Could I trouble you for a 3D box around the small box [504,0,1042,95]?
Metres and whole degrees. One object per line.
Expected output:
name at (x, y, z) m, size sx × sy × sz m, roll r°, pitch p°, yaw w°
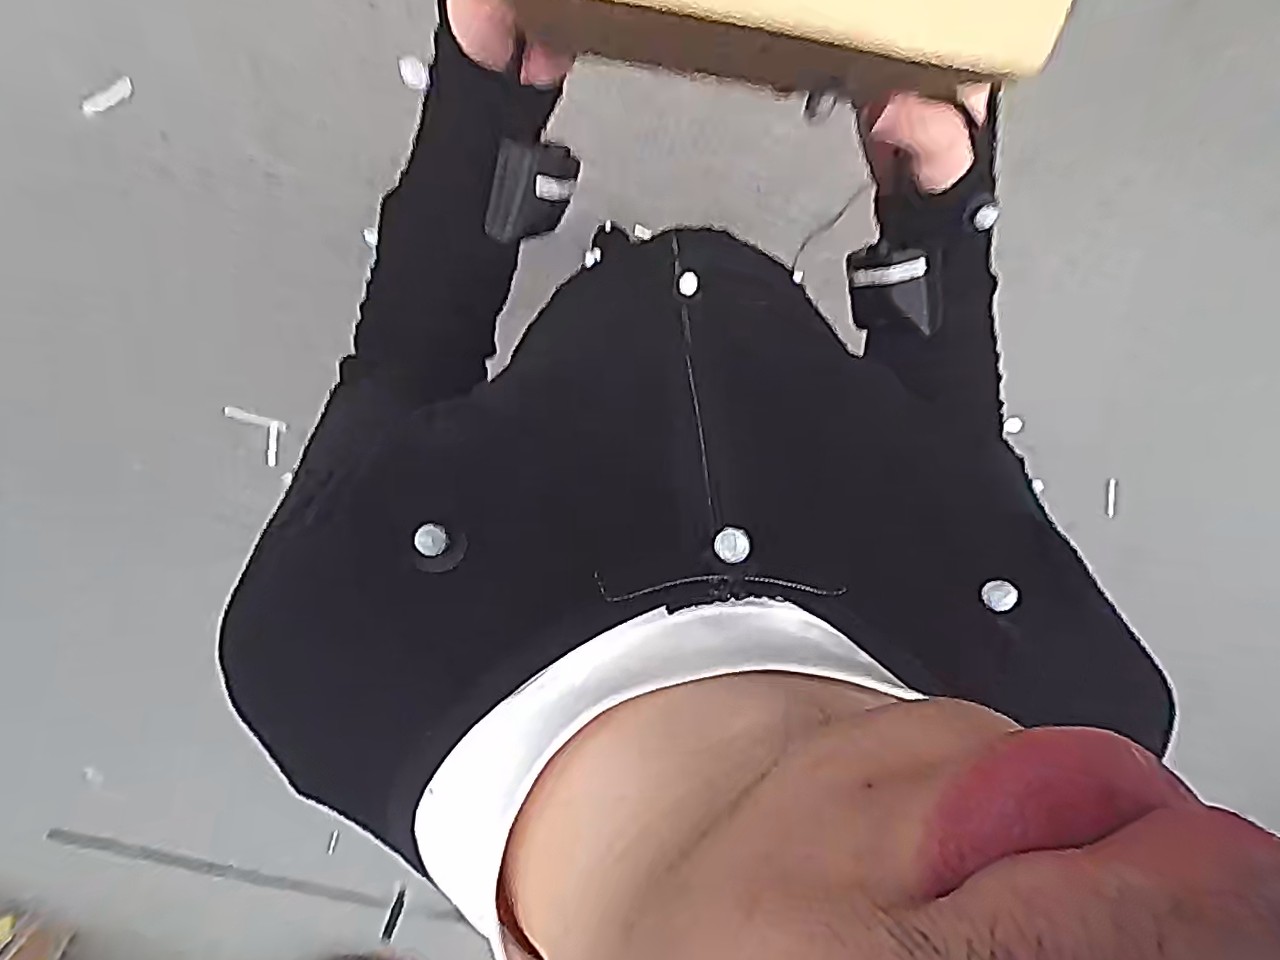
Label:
small box at (0.045, -0.253, 0.195) m, size 0.179 × 0.176 × 0.168 m, roll 4°, pitch 121°, yaw -6°
